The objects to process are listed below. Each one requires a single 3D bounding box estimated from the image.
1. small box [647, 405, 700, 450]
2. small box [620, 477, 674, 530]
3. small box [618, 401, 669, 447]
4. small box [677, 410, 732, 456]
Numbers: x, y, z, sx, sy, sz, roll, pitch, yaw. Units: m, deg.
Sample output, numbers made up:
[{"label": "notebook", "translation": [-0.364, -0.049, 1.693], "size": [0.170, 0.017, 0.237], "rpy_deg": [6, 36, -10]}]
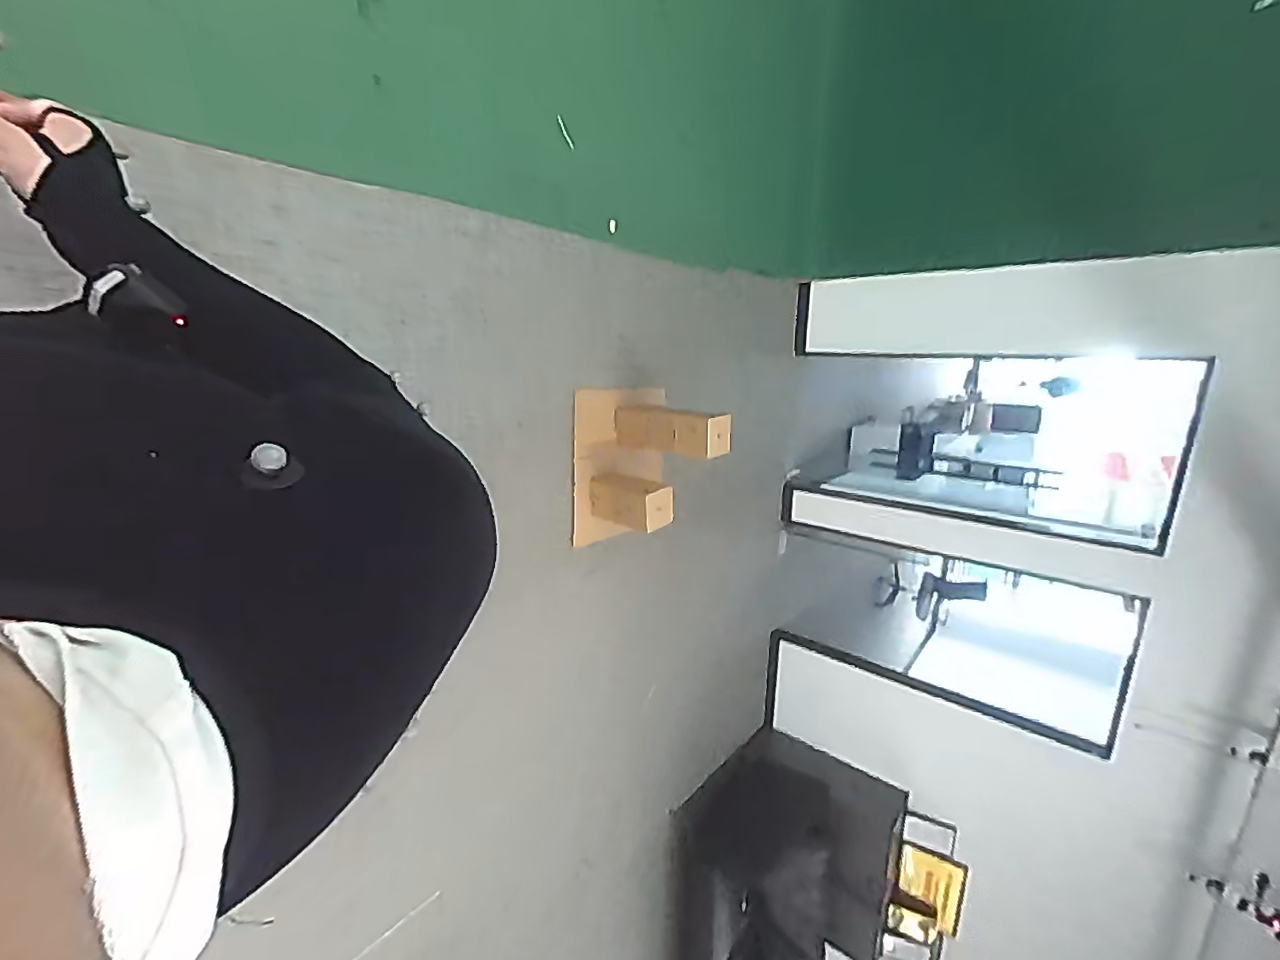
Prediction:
[{"label": "small box", "translation": [0.142, -0.231, 2.343], "size": [0.179, 0.176, 0.168], "rpy_deg": [-18, 113, -48]}, {"label": "small box", "translation": [0.026, 0.094, 2.281], "size": [0.179, 0.176, 0.168], "rpy_deg": [-21, 116, -46]}, {"label": "small box", "translation": [0.017, -0.258, 2.445], "size": [0.179, 0.176, 0.168], "rpy_deg": [-22, 116, -45]}, {"label": "small box", "translation": [0.266, -0.199, 2.244], "size": [0.179, 0.176, 0.168], "rpy_deg": [-18, 113, -48]}]
